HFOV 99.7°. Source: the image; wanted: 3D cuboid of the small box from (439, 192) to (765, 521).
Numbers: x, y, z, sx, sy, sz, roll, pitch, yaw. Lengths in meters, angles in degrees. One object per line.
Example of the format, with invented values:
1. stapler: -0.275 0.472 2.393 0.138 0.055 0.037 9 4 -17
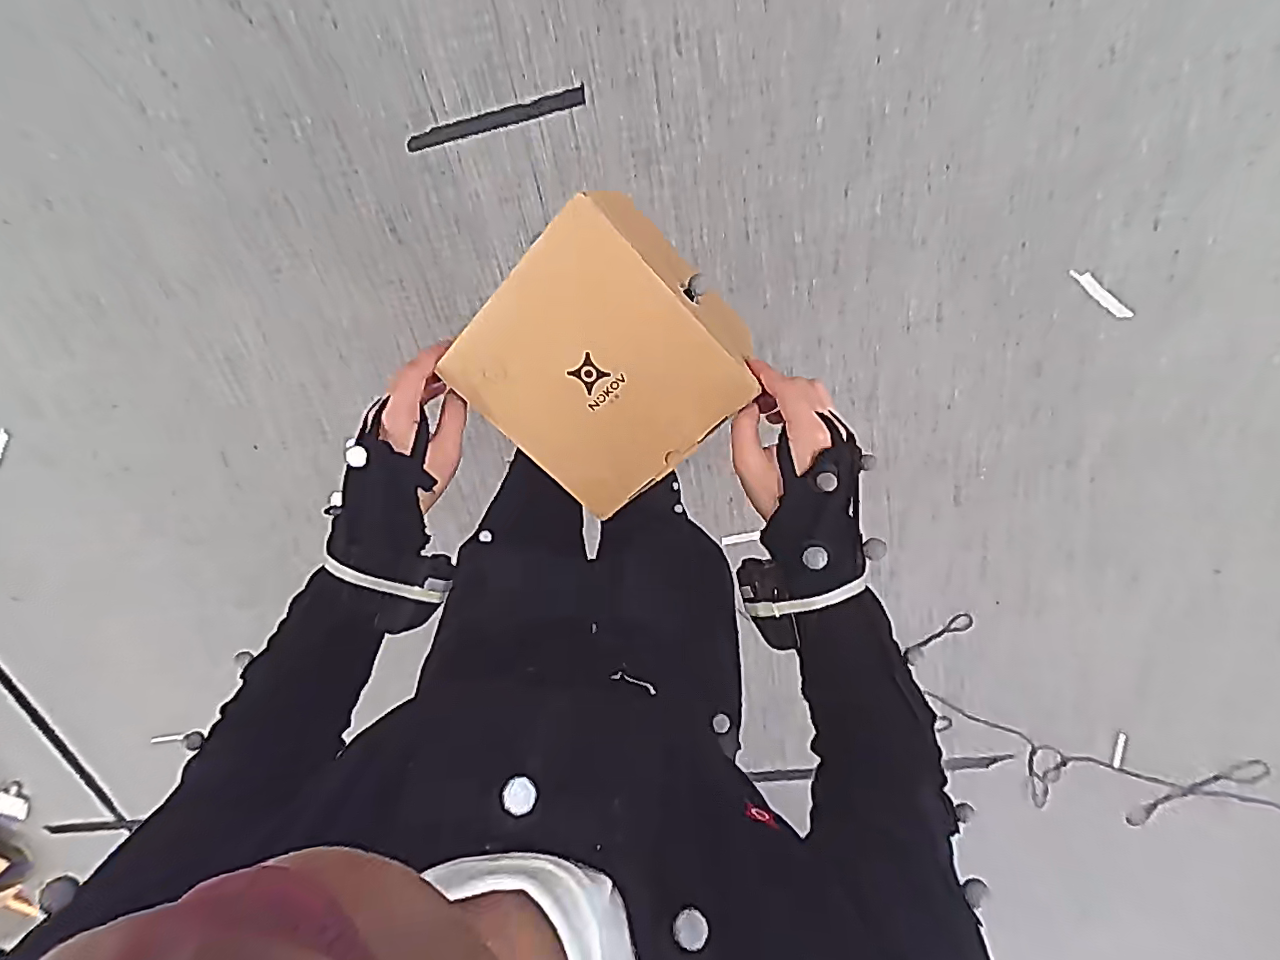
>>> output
1. small box: -0.021 -0.106 0.450 0.179 0.176 0.168 43 115 -15
